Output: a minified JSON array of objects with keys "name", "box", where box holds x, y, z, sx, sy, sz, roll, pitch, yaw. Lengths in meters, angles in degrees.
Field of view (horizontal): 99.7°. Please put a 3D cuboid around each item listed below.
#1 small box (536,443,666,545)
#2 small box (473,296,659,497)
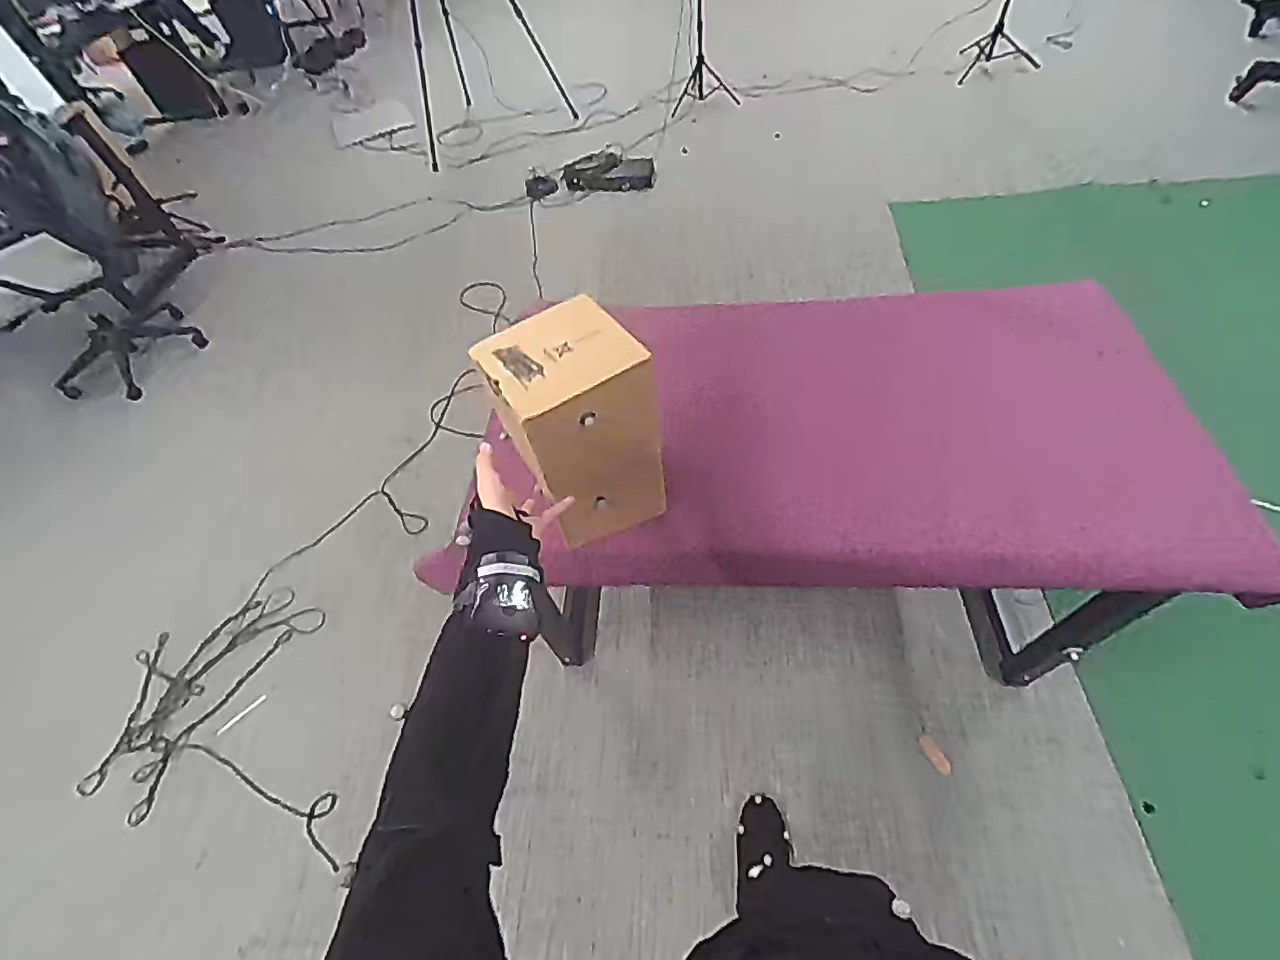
[{"name":"small box","box":[-0.070,-0.022,0.865,0.179,0.176,0.168,-20,54,-7]},{"name":"small box","box":[-0.091,-0.107,0.724,0.179,0.176,0.168,-30,55,-15]}]
